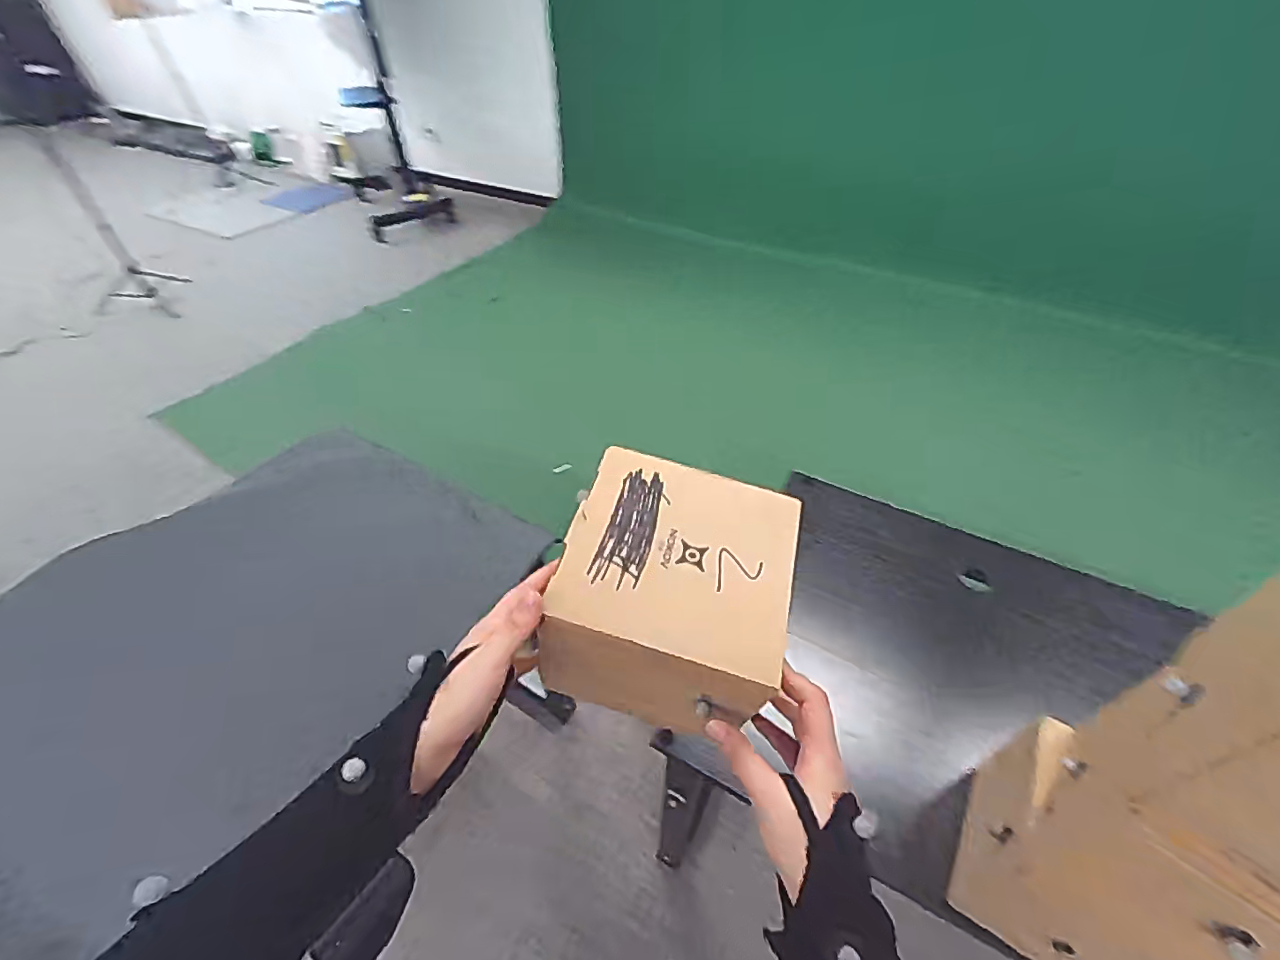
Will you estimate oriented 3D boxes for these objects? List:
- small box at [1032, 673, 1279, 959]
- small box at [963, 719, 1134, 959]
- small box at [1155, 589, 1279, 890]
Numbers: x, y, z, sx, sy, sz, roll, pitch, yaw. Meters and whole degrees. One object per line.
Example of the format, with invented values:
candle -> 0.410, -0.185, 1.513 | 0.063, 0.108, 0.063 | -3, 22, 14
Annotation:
small box -> 0.459, 0.294, 0.419 | 0.179, 0.176, 0.168 | 32, 54, 29
small box -> 0.459, 0.393, 0.550 | 0.168, 0.176, 0.179 | 26, 50, 24
small box -> 0.460, 0.167, 0.316 | 0.179, 0.176, 0.168 | -36, 54, -29
